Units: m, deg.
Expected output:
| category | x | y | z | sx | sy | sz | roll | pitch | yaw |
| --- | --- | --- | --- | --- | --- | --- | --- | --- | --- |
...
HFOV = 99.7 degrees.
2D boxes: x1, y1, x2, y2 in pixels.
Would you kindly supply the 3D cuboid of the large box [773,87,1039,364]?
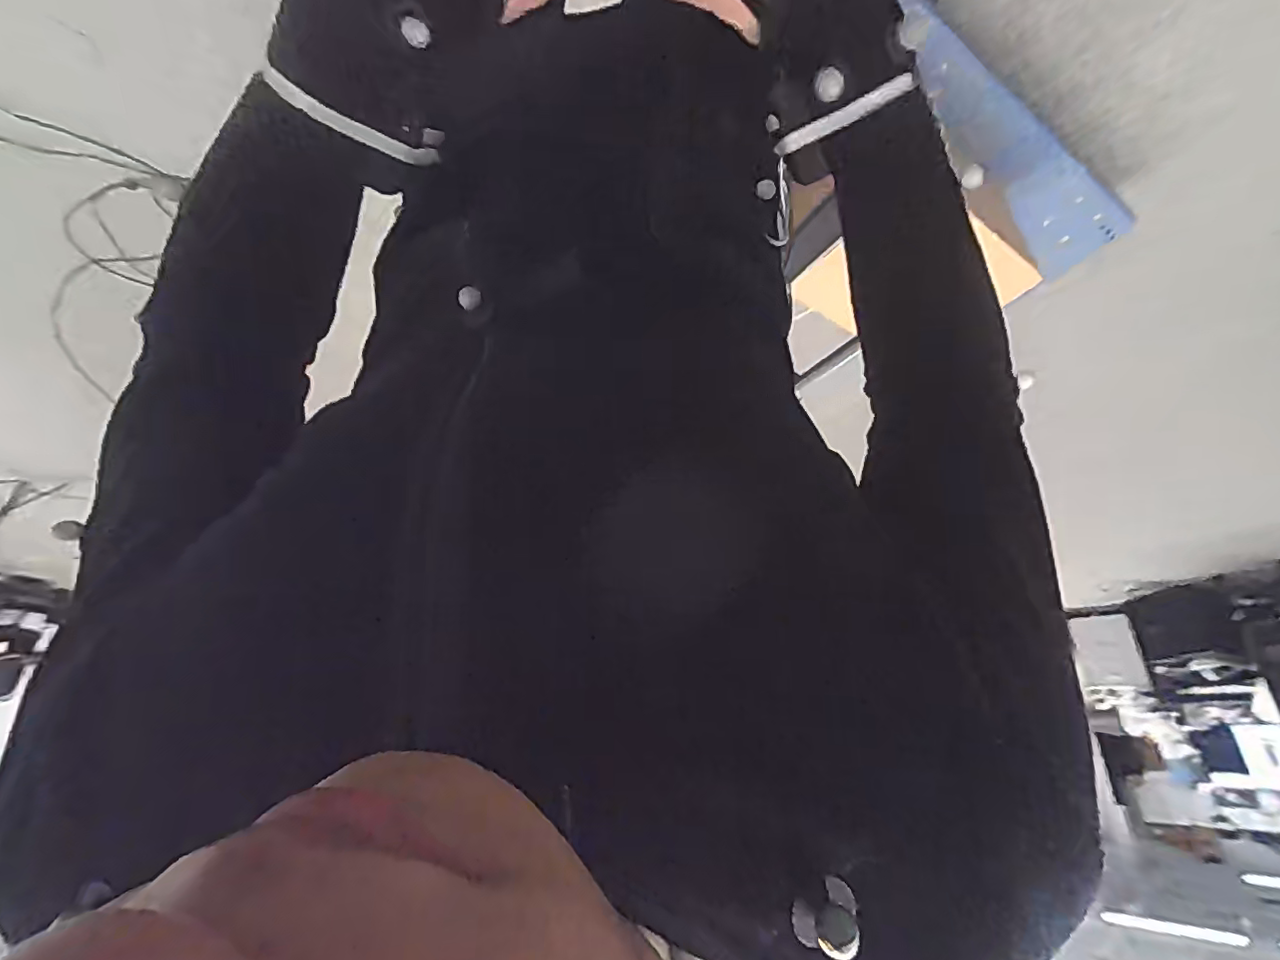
| category | x | y | z | sx | sy | sz | roll | pitch | yaw |
| --- | --- | --- | --- | --- | --- | --- | --- | --- | --- |
| large box | 0.548 | -0.522 | 1.167 | 0.408 | 0.320 | 0.320 | 19 | 148 | -27 |
